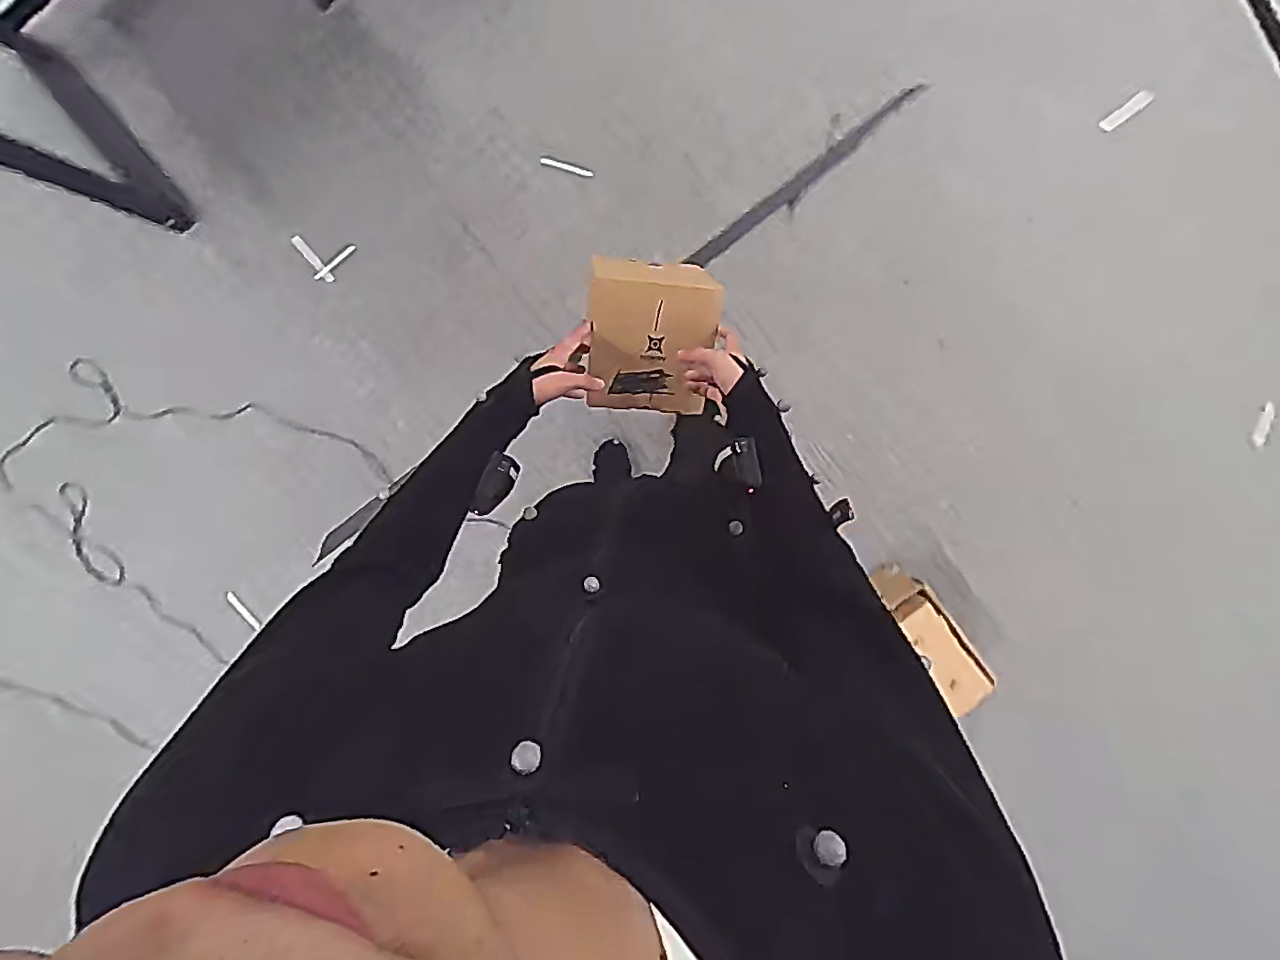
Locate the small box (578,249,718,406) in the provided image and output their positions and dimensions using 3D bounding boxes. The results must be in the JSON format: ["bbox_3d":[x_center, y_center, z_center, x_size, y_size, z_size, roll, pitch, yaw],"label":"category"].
[{"bbox_3d":[-0.001,-0.222,0.781,0.168,0.176,0.179,1,120,-10],"label":"small box"}]
